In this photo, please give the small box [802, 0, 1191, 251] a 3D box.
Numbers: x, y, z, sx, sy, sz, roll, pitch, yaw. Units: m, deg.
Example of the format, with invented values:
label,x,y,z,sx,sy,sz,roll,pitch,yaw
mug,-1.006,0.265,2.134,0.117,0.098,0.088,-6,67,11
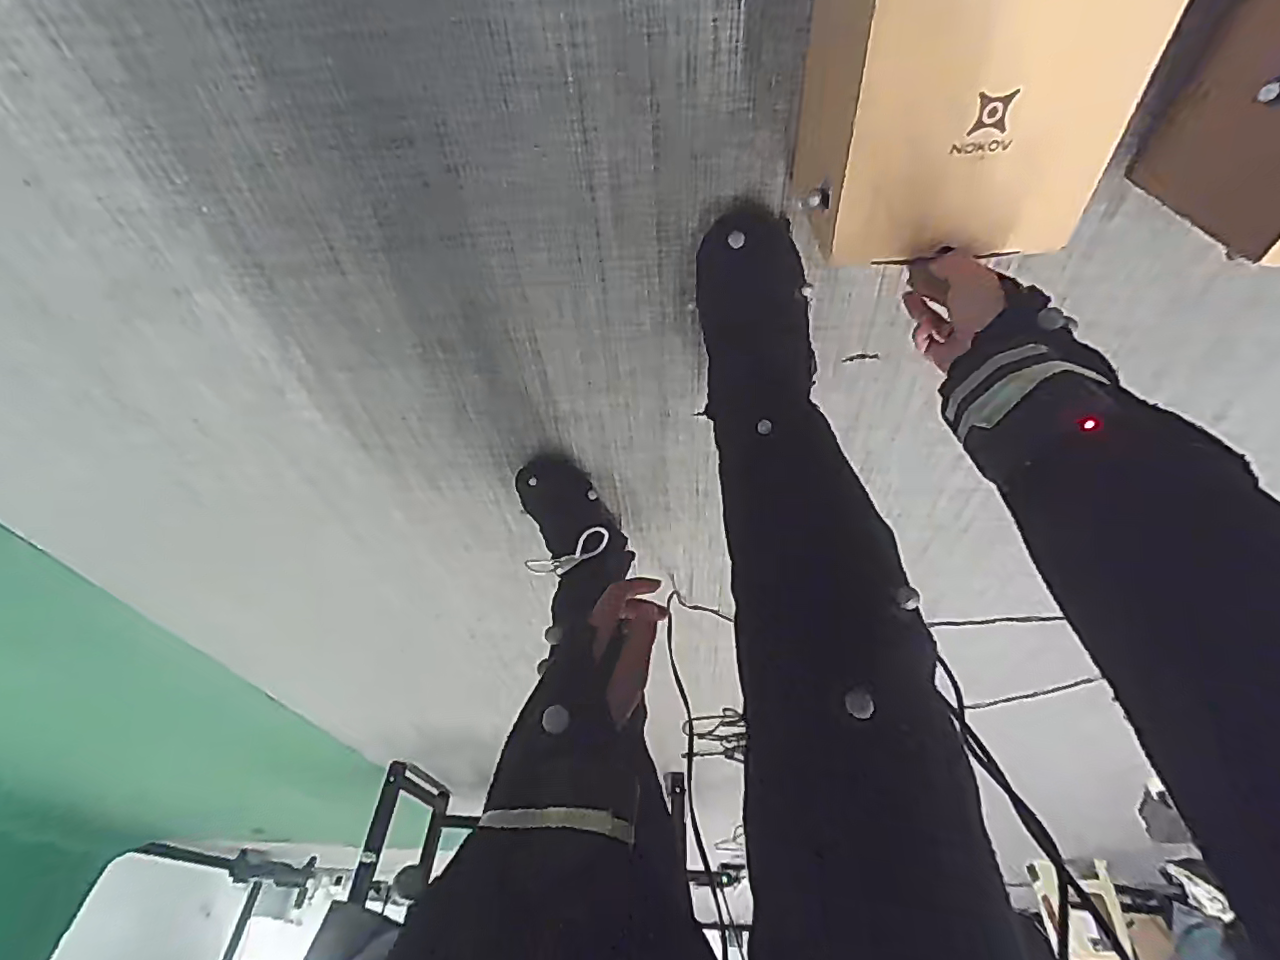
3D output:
label,x,y,z,sx,sy,sz,roll,pitch,yaw
small box,0.215,-0.285,0.373,0.168,0.176,0.179,-2,137,6
